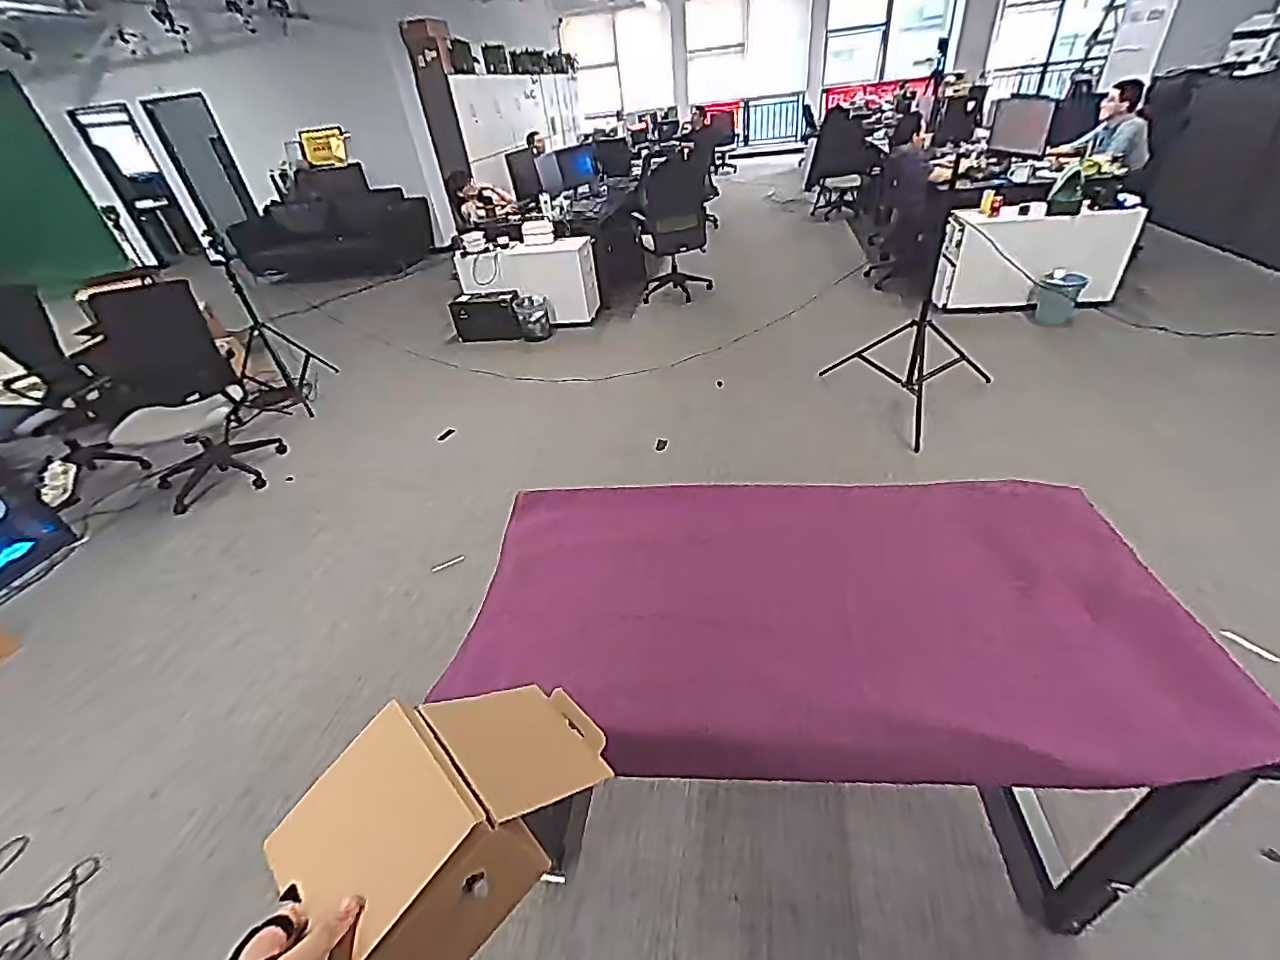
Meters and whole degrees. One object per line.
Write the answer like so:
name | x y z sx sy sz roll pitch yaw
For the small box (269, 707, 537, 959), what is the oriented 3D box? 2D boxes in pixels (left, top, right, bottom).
small box | -0.227 0.384 0.560 0.179 0.176 0.168 -40 48 -24
